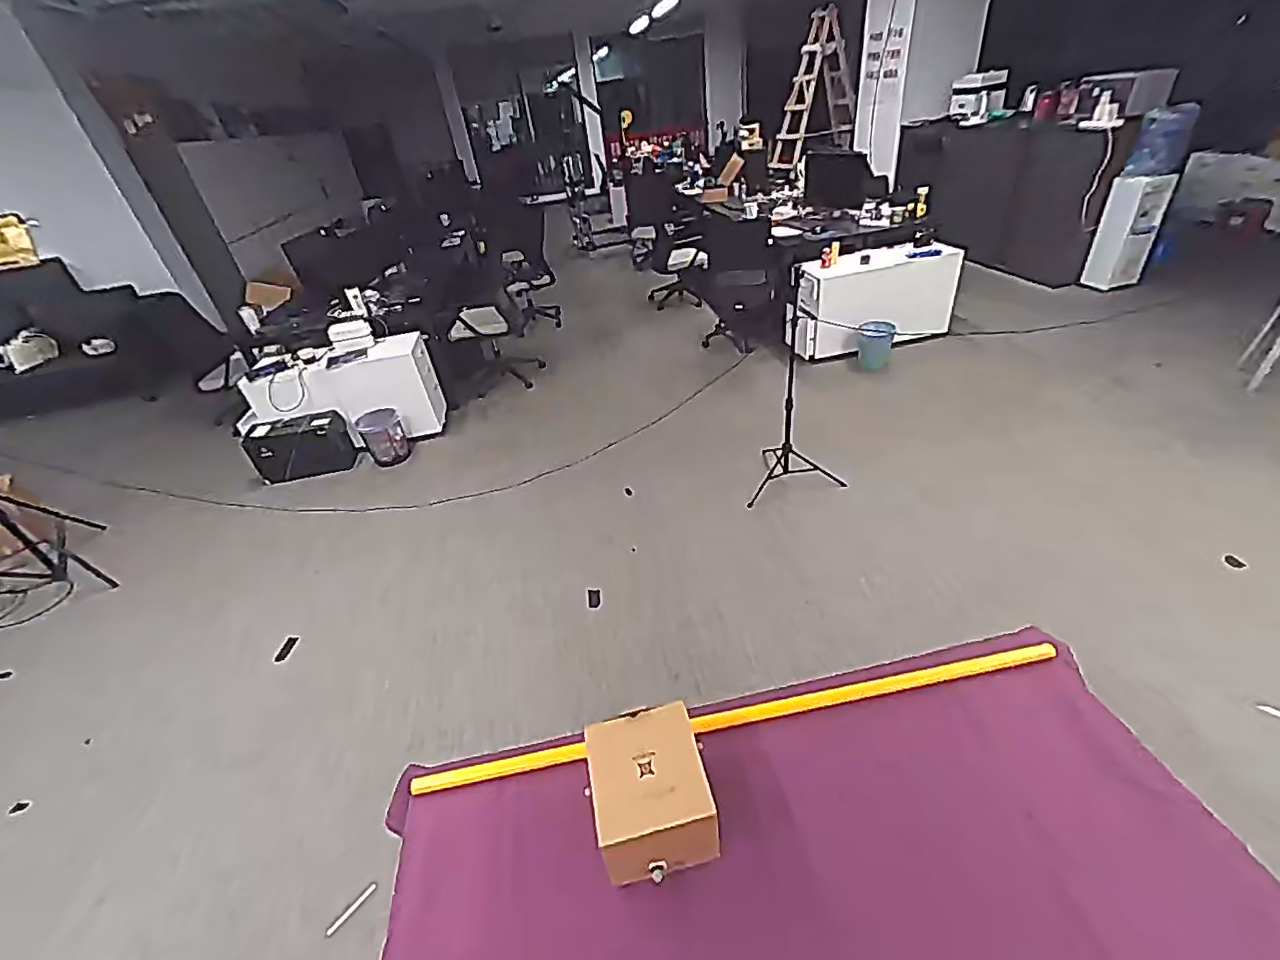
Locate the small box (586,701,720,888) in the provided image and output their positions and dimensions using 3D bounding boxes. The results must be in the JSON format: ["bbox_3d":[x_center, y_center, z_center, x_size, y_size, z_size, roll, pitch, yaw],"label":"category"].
[{"bbox_3d":[0.019,0.482,0.834,0.168,0.176,0.179,-13,36,-5],"label":"small box"}]
